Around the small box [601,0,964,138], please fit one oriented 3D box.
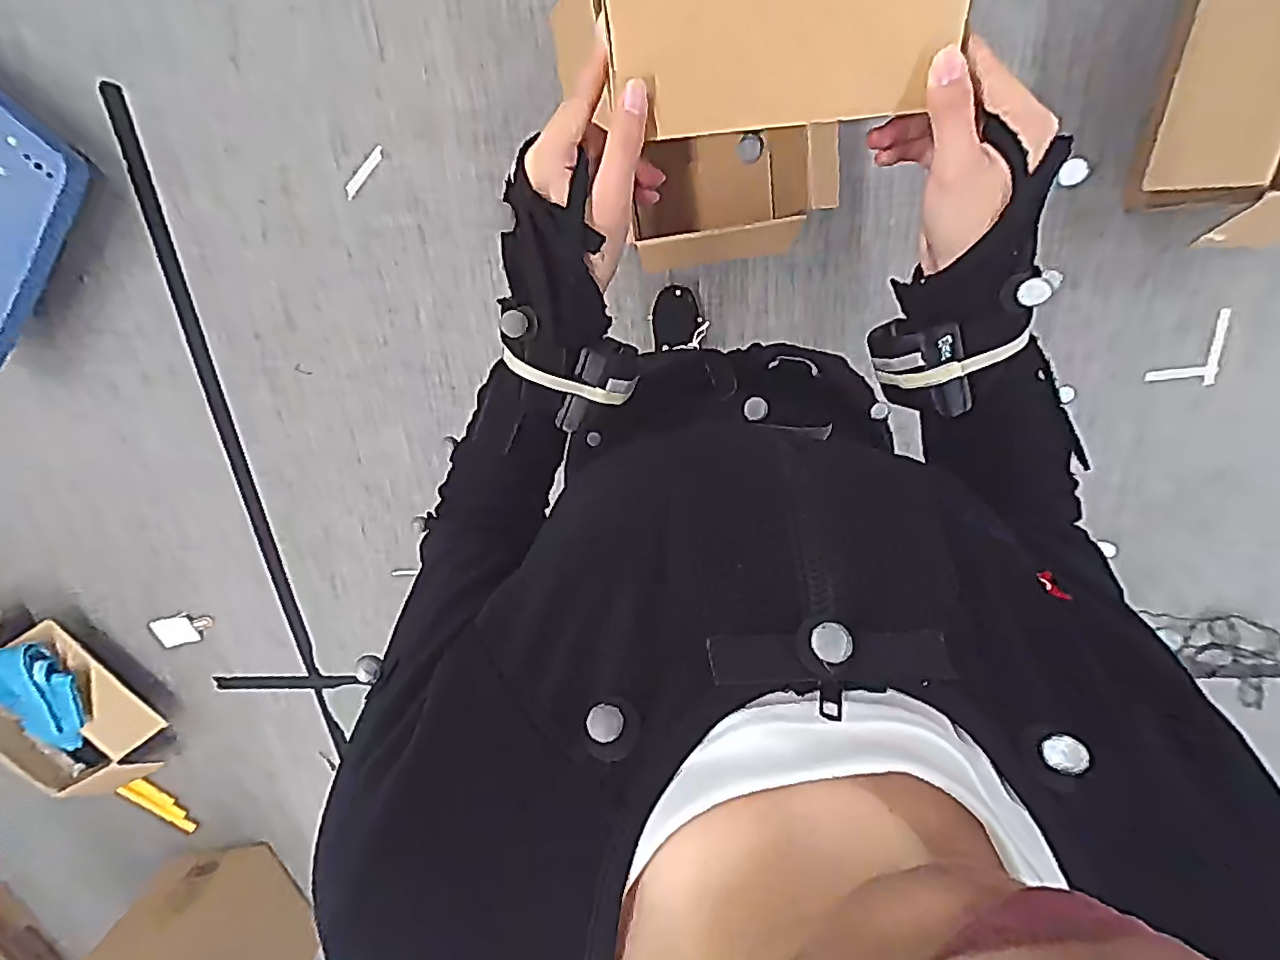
[{"bbox_3d":[0.064,-0.300,0.303,0.179,0.176,0.168,-4,124,2],"label":"small box"}]
